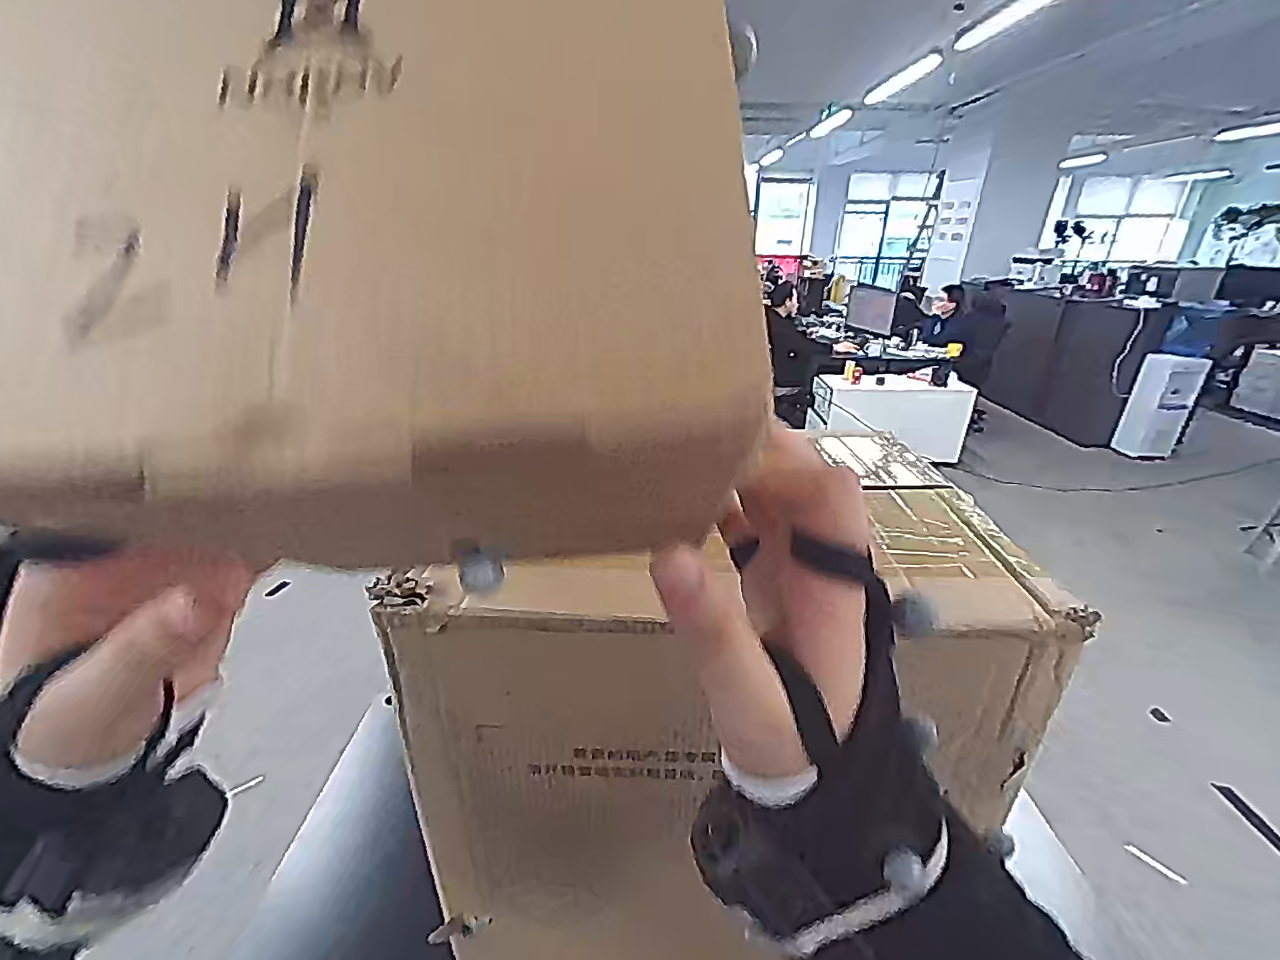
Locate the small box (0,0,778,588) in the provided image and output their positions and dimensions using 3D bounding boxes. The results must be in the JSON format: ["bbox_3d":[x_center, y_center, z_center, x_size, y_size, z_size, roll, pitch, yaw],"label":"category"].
[{"bbox_3d":[-0.061,-0.059,0.184,0.168,0.179,0.176,-5,-13,2],"label":"small box"}]
